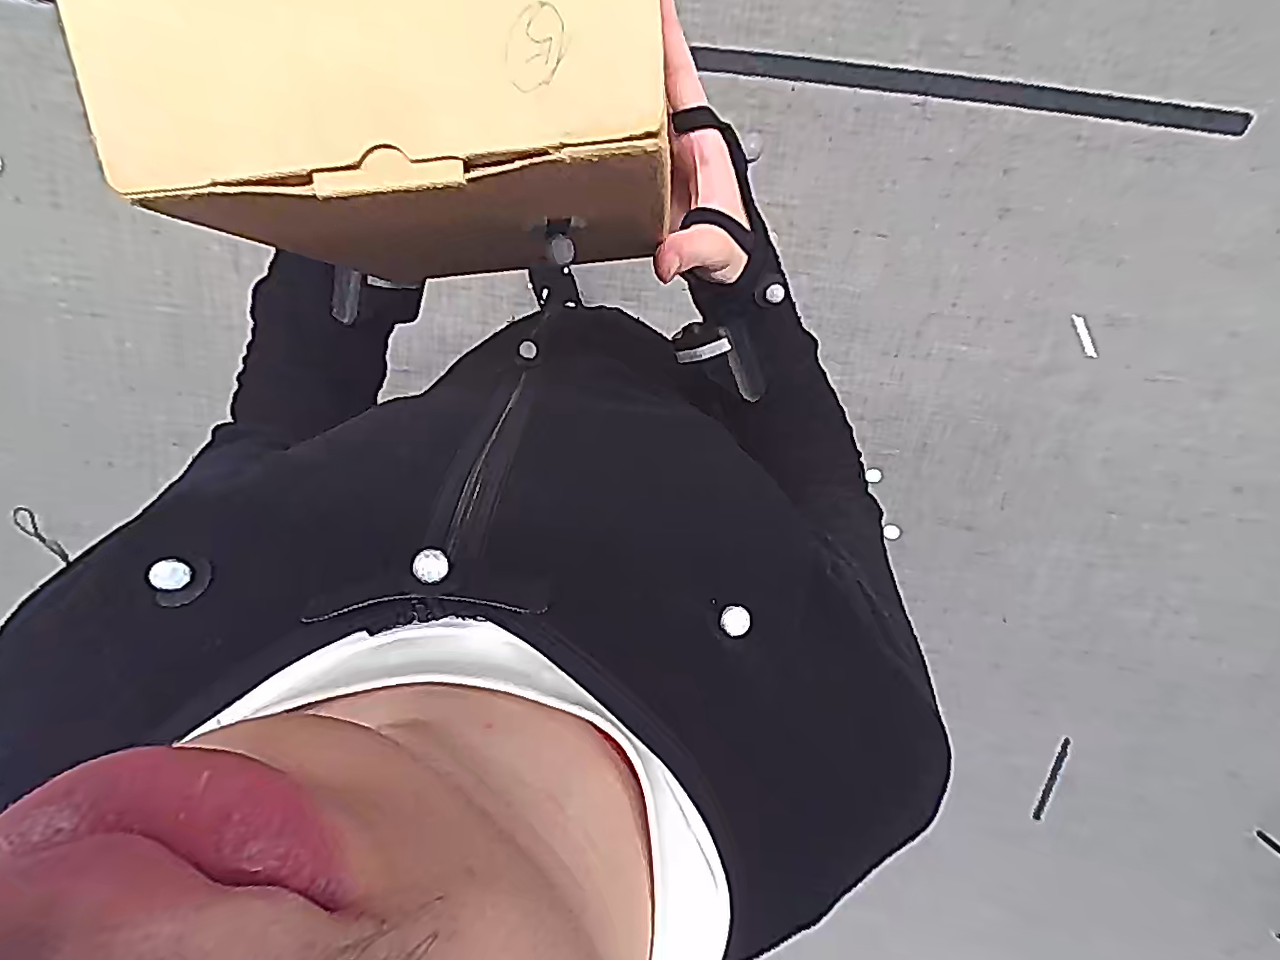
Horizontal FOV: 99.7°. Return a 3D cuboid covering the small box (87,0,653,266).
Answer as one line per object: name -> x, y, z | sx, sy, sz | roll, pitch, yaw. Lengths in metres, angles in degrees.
small box -> -0.081, -0.196, 0.228 | 0.168, 0.176, 0.179 | -4, 102, 2
